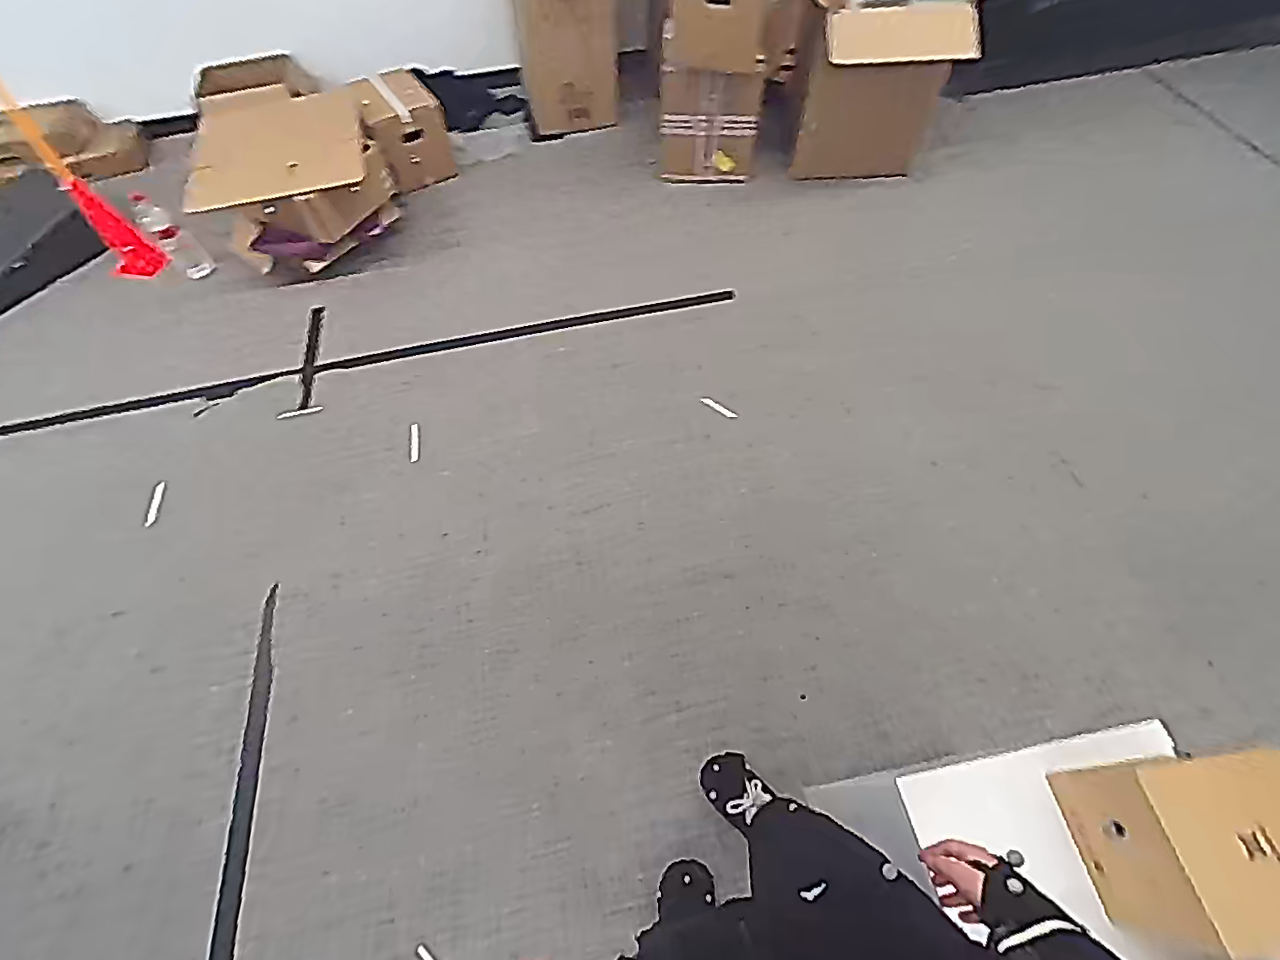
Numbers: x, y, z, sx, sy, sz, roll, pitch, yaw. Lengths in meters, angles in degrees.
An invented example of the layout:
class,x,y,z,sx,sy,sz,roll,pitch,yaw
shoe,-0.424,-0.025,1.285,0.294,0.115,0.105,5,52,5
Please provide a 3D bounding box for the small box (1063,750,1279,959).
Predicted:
class,x,y,z,sx,sy,sz,roll,pitch,yaw
small box,0.641,0.418,0.621,0.179,0.176,0.168,-7,60,-2
